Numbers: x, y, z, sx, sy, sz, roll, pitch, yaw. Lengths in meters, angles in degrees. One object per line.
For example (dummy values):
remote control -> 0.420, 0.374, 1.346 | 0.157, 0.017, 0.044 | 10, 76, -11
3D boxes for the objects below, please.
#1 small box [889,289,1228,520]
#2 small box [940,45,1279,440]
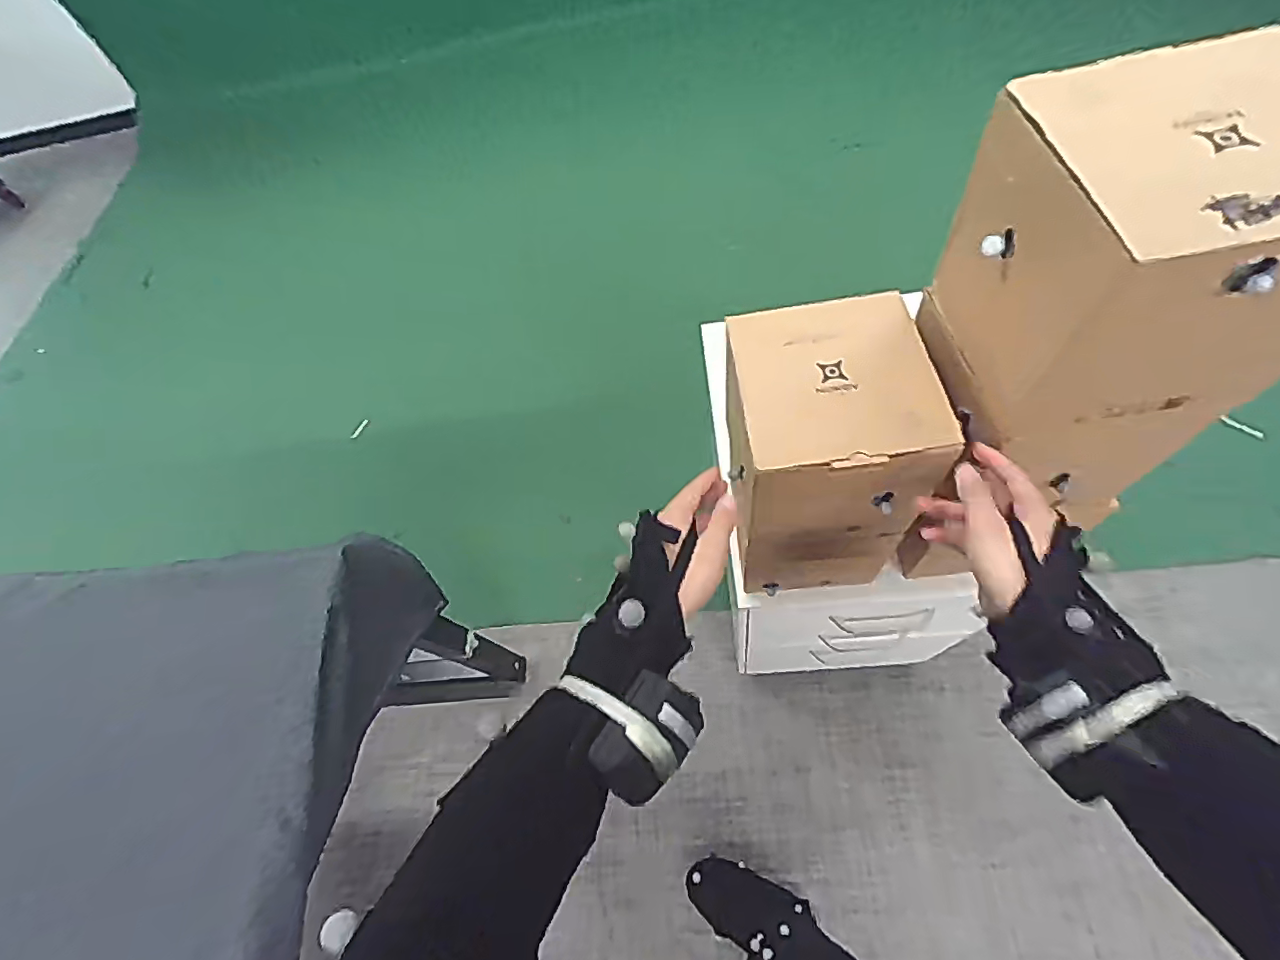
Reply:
small box -> 0.363, -0.073, 0.516 | 0.168, 0.176, 0.179 | -9, 60, 5
small box -> 0.338, -0.151, 0.374 | 0.168, 0.176, 0.179 | -7, 59, 7
